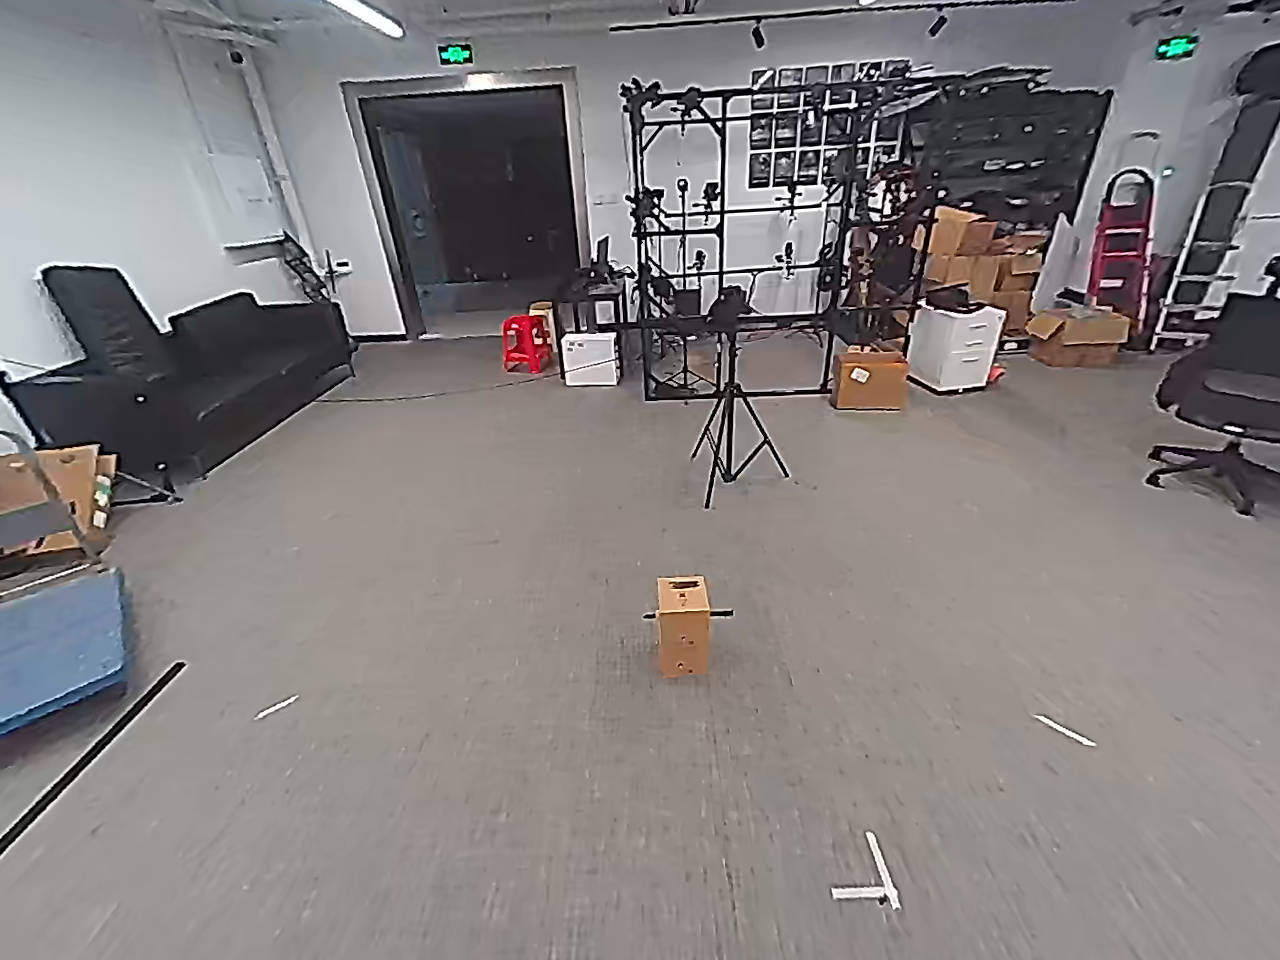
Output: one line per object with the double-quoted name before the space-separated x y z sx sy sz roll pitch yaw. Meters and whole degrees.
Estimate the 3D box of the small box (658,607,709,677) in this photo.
"small box" 0.153 0.589 1.967 0.168 0.176 0.179 -5 29 -2
